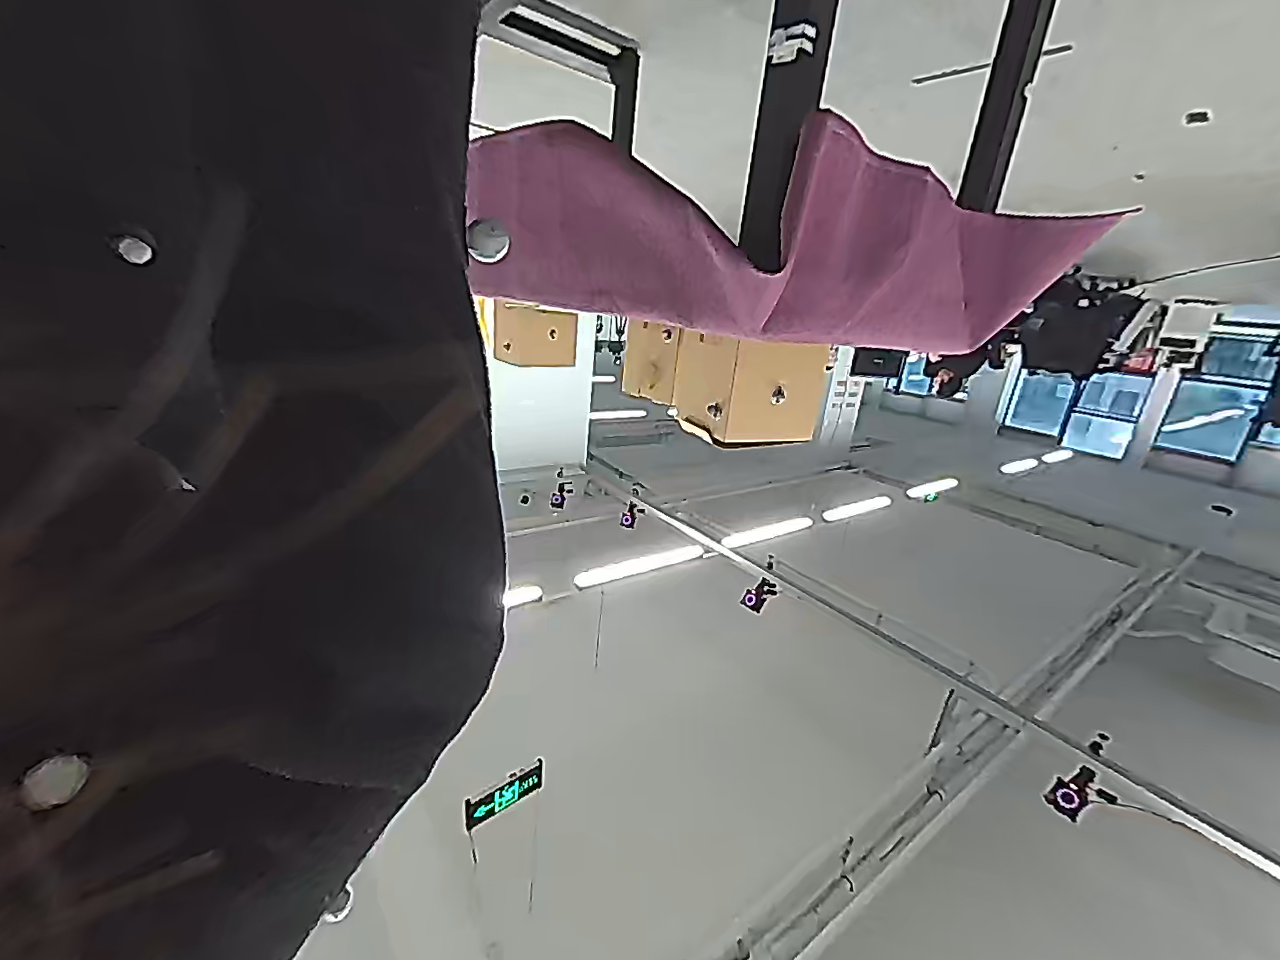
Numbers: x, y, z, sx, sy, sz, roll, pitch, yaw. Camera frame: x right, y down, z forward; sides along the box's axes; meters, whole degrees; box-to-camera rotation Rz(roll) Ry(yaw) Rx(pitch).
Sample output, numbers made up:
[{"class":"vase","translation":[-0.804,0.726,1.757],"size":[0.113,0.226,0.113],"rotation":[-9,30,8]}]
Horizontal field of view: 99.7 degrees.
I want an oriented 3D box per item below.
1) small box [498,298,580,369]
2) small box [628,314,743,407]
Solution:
[{"class":"small box","translation":[-0.277,-0.400,1.465],"size":[0.168,0.176,0.179],"rotation":[-10,-156,-38]},{"class":"small box","translation":[0.094,-0.256,1.140],"size":[0.179,0.176,0.168],"rotation":[-10,-156,-37]}]
